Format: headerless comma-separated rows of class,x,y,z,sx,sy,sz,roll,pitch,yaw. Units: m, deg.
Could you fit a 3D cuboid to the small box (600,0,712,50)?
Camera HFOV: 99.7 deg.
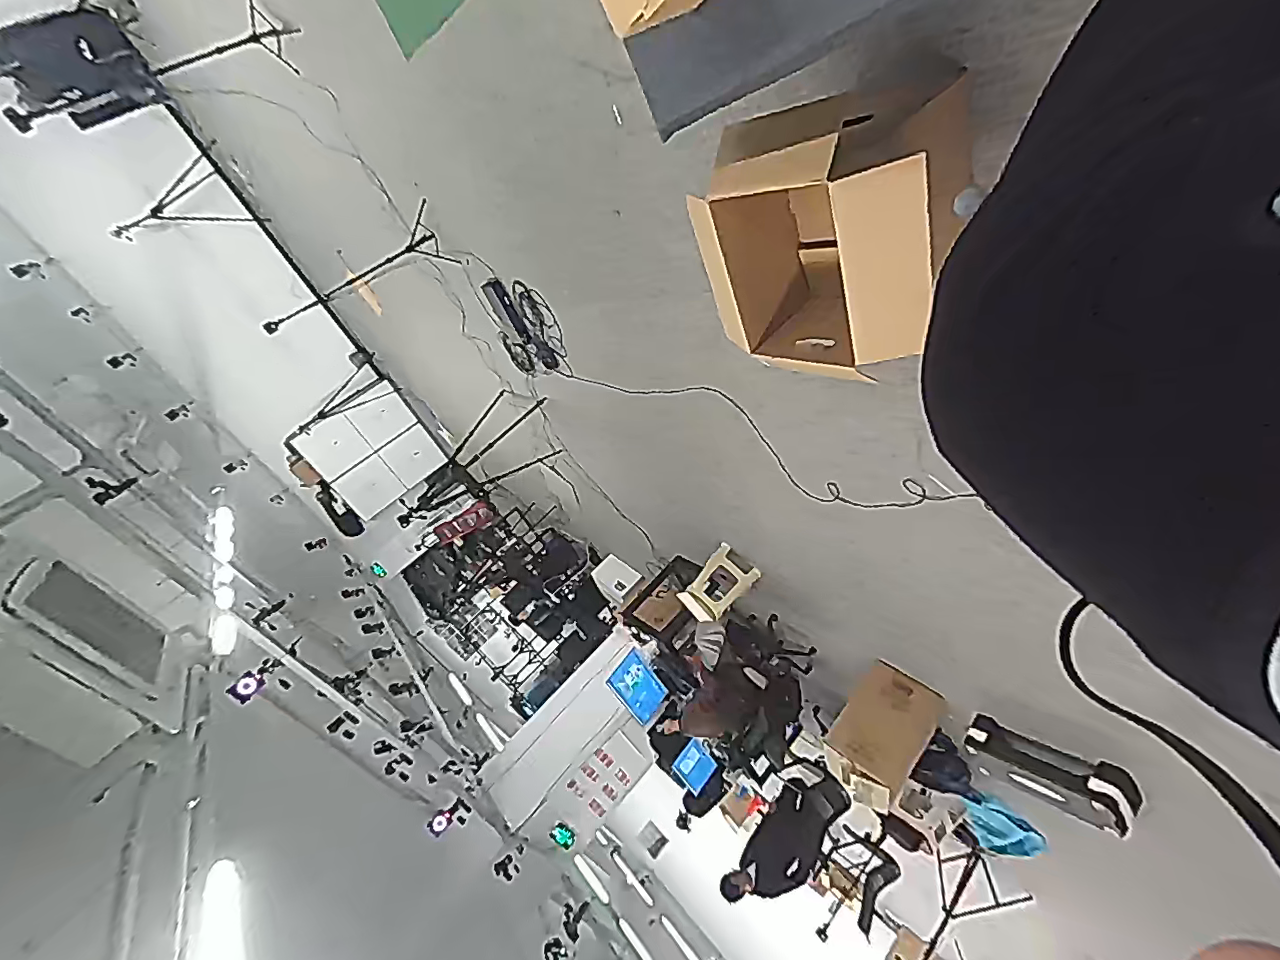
small box,0.036,-0.728,0.709,0.168,0.176,0.179,6,132,57
